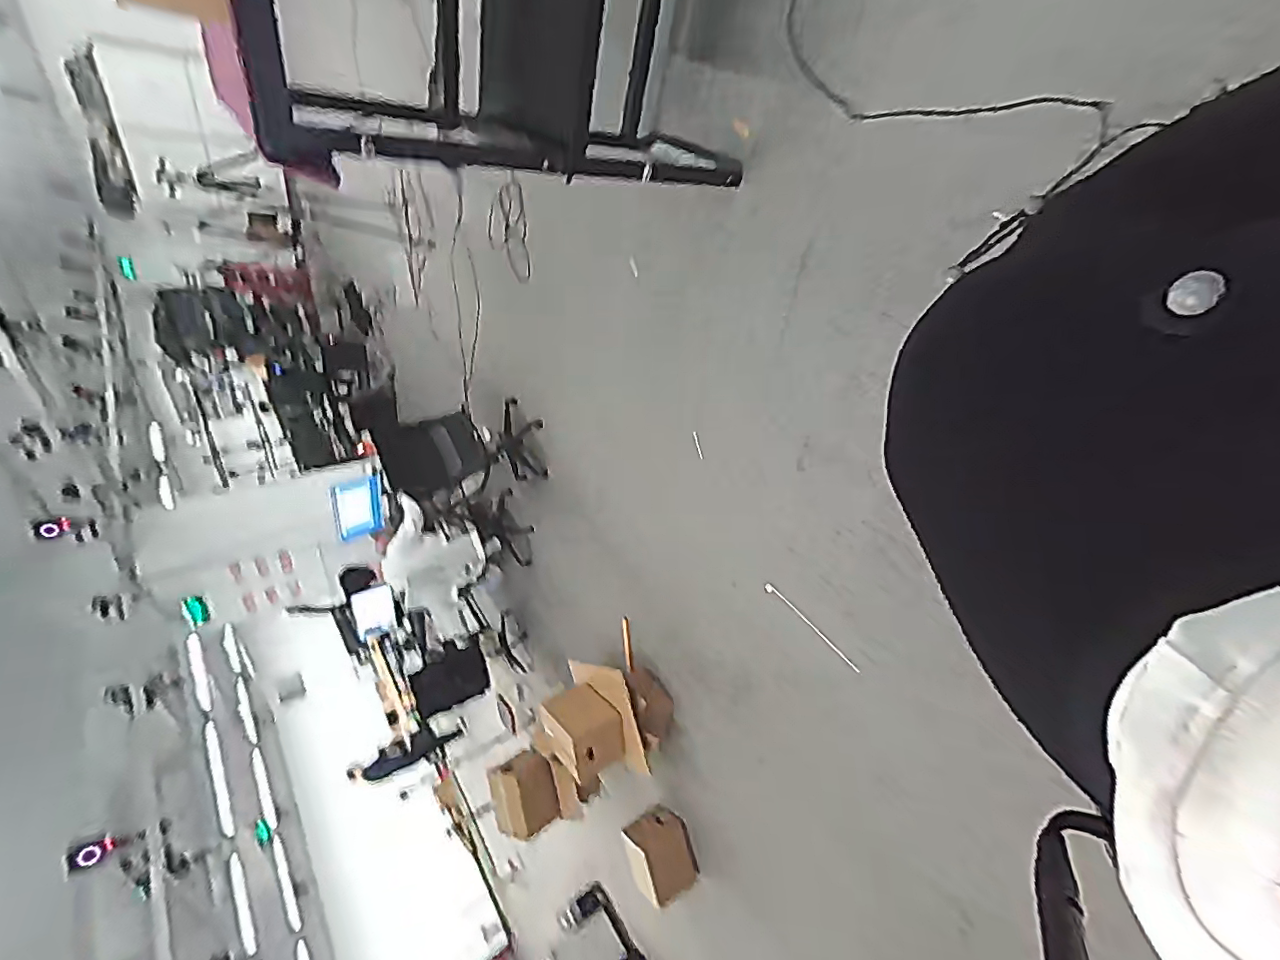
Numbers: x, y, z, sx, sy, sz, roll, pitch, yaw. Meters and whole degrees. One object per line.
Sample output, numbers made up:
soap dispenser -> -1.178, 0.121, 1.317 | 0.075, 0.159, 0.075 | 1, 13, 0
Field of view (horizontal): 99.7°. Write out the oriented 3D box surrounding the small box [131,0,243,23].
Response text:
small box -> -0.847, -0.966, 0.974 | 0.168, 0.176, 0.179 | 48, 139, 33
